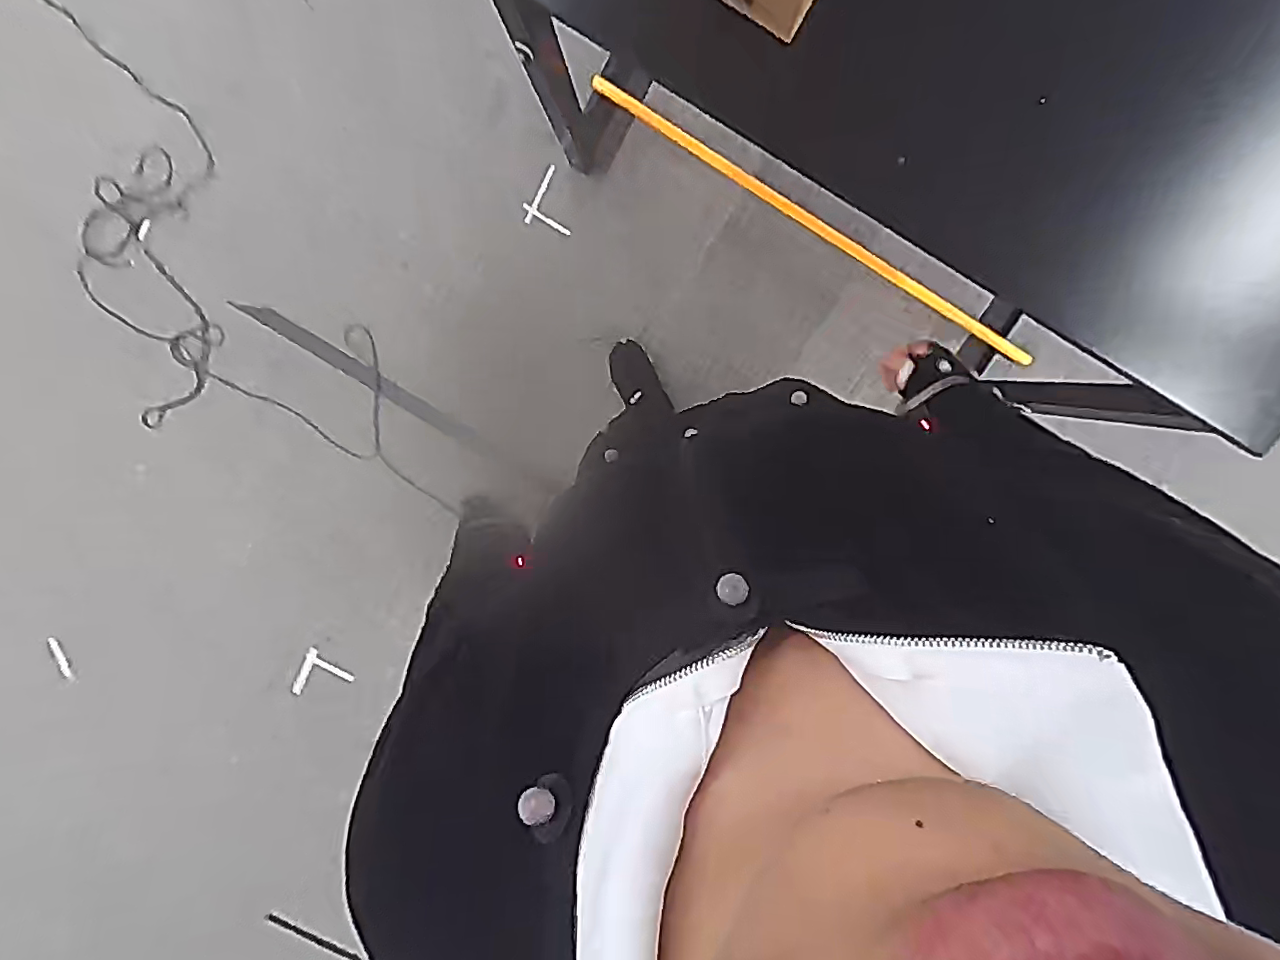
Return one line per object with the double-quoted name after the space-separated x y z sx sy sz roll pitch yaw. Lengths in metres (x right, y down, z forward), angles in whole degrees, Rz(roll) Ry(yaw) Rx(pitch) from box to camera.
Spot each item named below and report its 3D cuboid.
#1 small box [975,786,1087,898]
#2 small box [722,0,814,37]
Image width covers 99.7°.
1.118 1.043 1.569 0.168 0.176 0.179 30 102 -3 "small box"
0.145 -0.608 0.532 0.168 0.176 0.179 30 102 -3 "small box"
